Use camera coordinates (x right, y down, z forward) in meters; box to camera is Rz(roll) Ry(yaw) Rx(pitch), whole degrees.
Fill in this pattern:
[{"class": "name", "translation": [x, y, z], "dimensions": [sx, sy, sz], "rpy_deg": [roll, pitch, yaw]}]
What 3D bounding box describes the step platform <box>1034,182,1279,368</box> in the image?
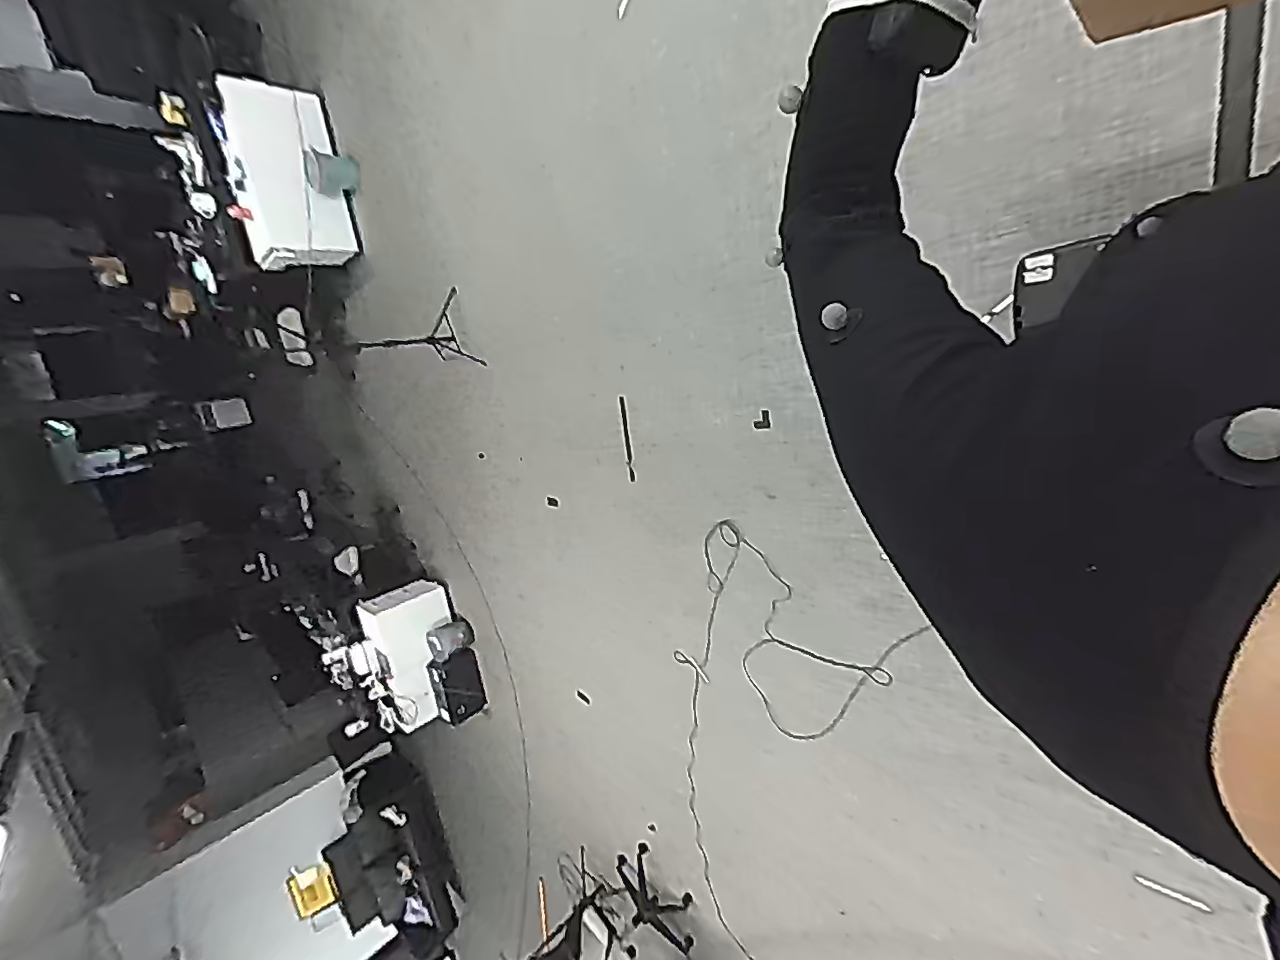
[{"class": "step platform", "translation": [1.166, -0.401, 1.020], "dimensions": [0.684, 0.204, 0.286], "rpy_deg": [0, 105, 45]}]
